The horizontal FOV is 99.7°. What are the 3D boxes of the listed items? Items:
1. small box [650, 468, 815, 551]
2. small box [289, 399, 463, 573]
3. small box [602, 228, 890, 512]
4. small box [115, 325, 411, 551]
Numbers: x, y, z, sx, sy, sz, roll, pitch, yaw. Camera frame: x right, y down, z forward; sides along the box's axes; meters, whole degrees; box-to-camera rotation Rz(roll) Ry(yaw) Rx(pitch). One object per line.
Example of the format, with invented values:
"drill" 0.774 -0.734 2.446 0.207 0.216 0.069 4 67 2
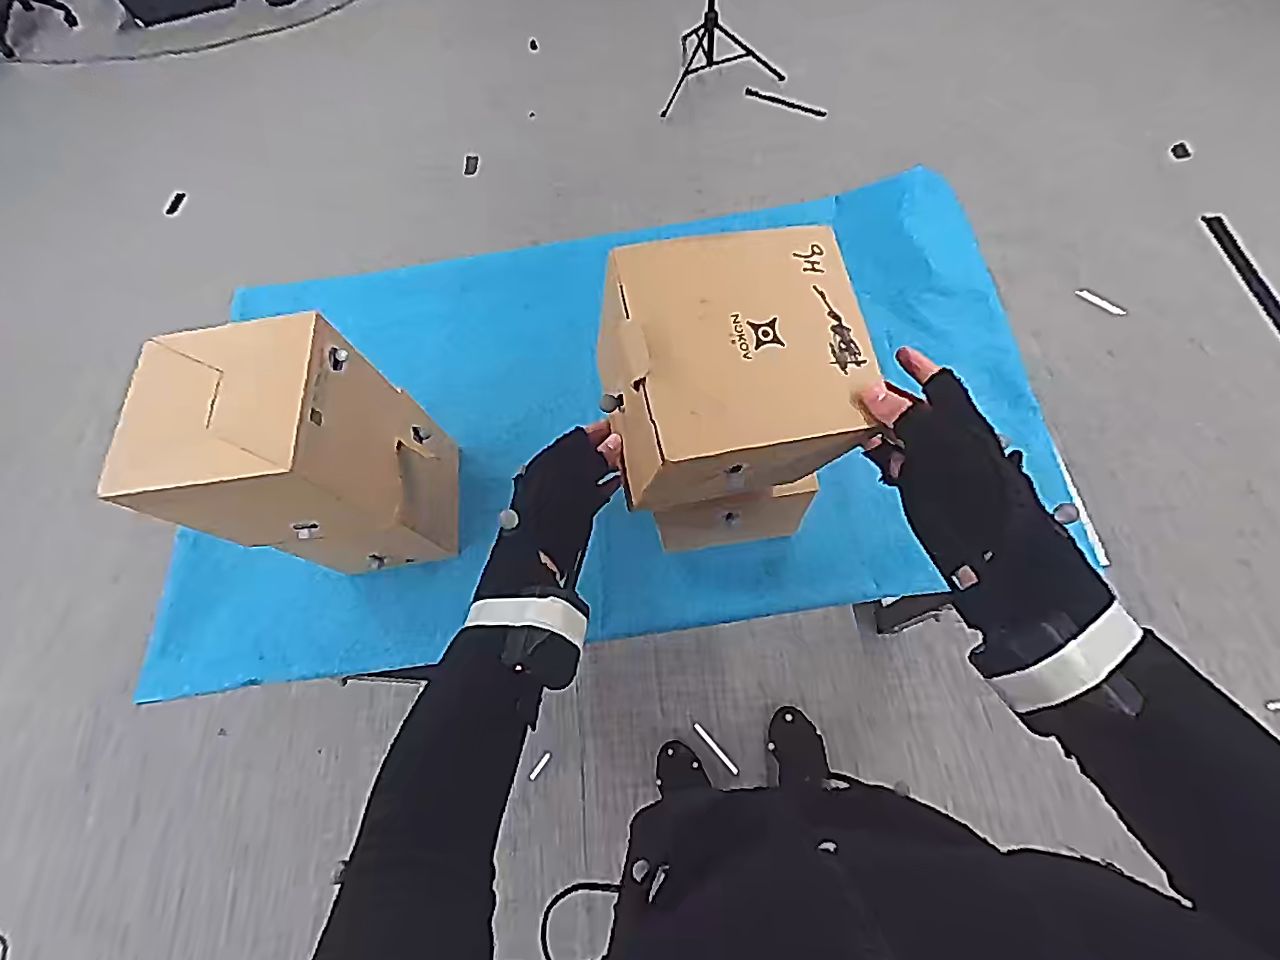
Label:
"small box" 0.099 -0.018 0.663 0.179 0.176 0.168 -9 68 5
"small box" -0.347 0.015 0.713 0.168 0.176 0.179 -7 69 7
"small box" 0.067 -0.080 0.462 0.179 0.176 0.168 -12 76 -10
"small box" -0.363 -0.036 0.555 0.179 0.176 0.168 -8 67 4
